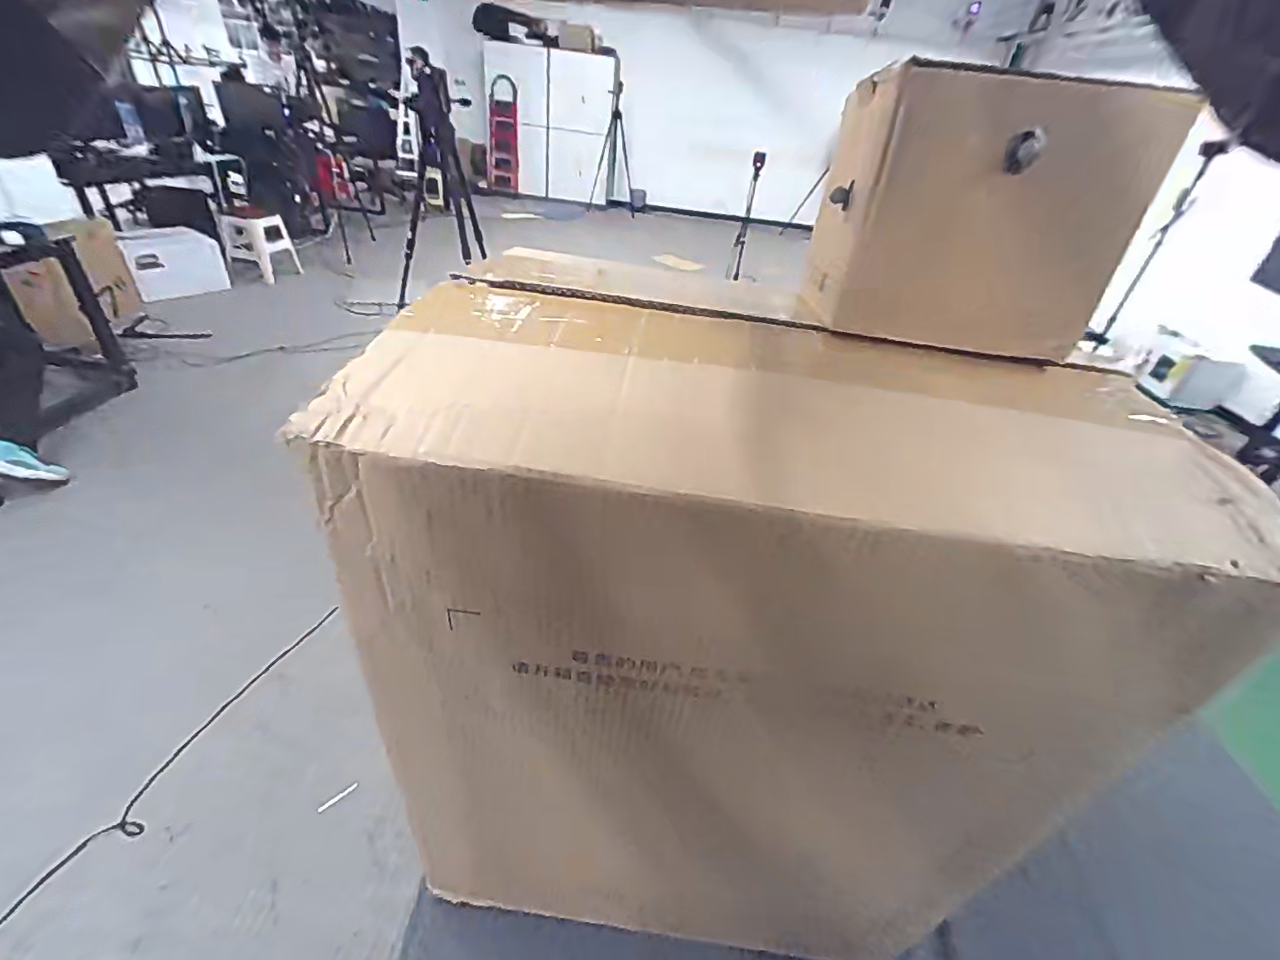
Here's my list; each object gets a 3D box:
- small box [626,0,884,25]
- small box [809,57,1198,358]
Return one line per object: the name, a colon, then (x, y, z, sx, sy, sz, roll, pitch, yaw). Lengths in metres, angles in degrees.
small box: (0.032, -0.309, 0.217, 0.168, 0.176, 0.179, 7, 47, 4)
small box: (0.247, -0.208, 0.432, 0.179, 0.176, 0.168, 10, 31, 1)
